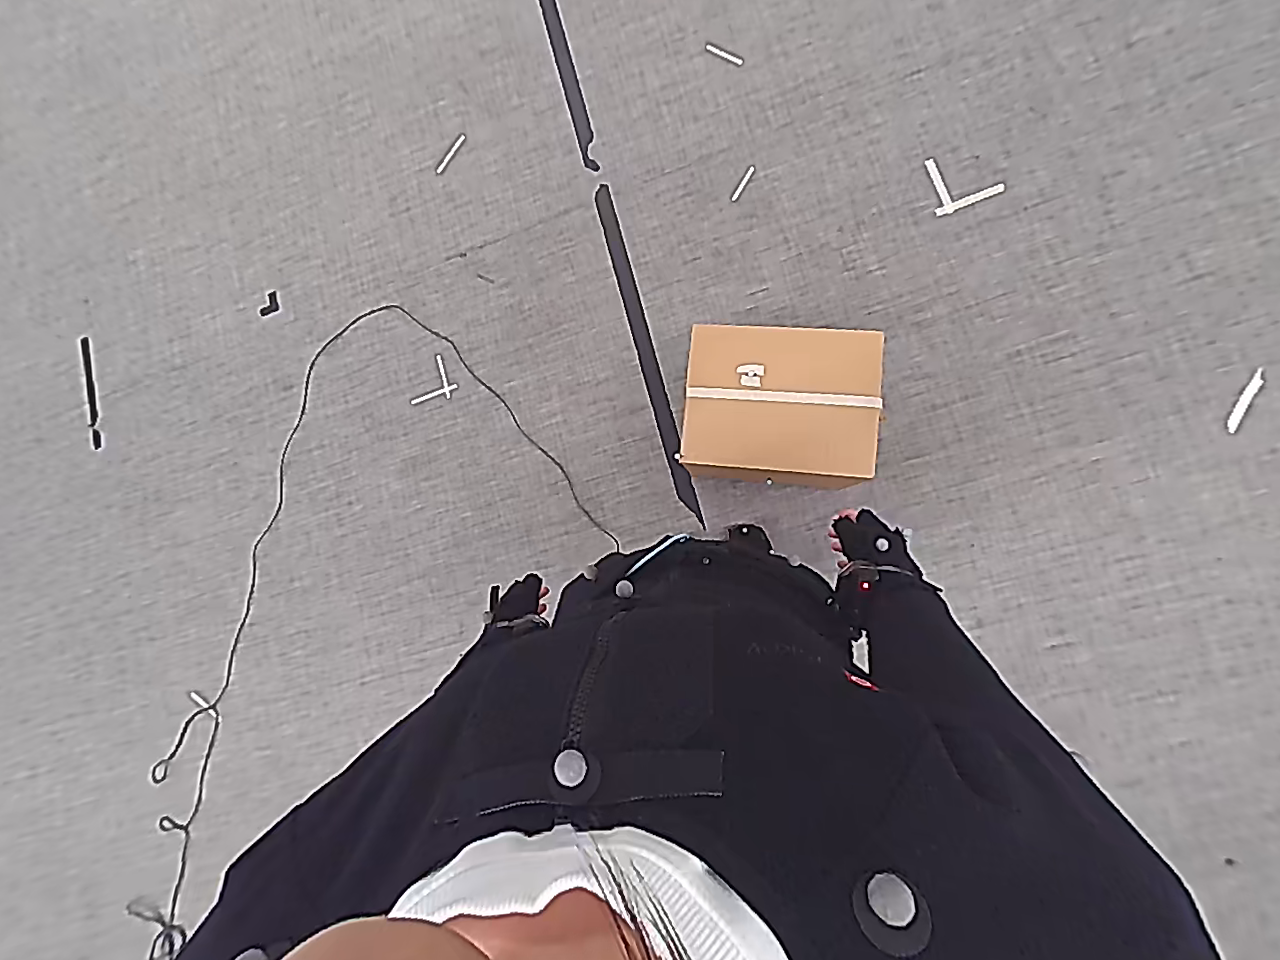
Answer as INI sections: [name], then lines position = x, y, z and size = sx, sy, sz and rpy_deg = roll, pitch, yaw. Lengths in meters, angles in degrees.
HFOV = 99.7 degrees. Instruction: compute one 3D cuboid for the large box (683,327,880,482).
[large box]
position = 0.332, -0.168, 1.314
size = 0.408, 0.320, 0.320
rpy_deg = 5, 85, 11
